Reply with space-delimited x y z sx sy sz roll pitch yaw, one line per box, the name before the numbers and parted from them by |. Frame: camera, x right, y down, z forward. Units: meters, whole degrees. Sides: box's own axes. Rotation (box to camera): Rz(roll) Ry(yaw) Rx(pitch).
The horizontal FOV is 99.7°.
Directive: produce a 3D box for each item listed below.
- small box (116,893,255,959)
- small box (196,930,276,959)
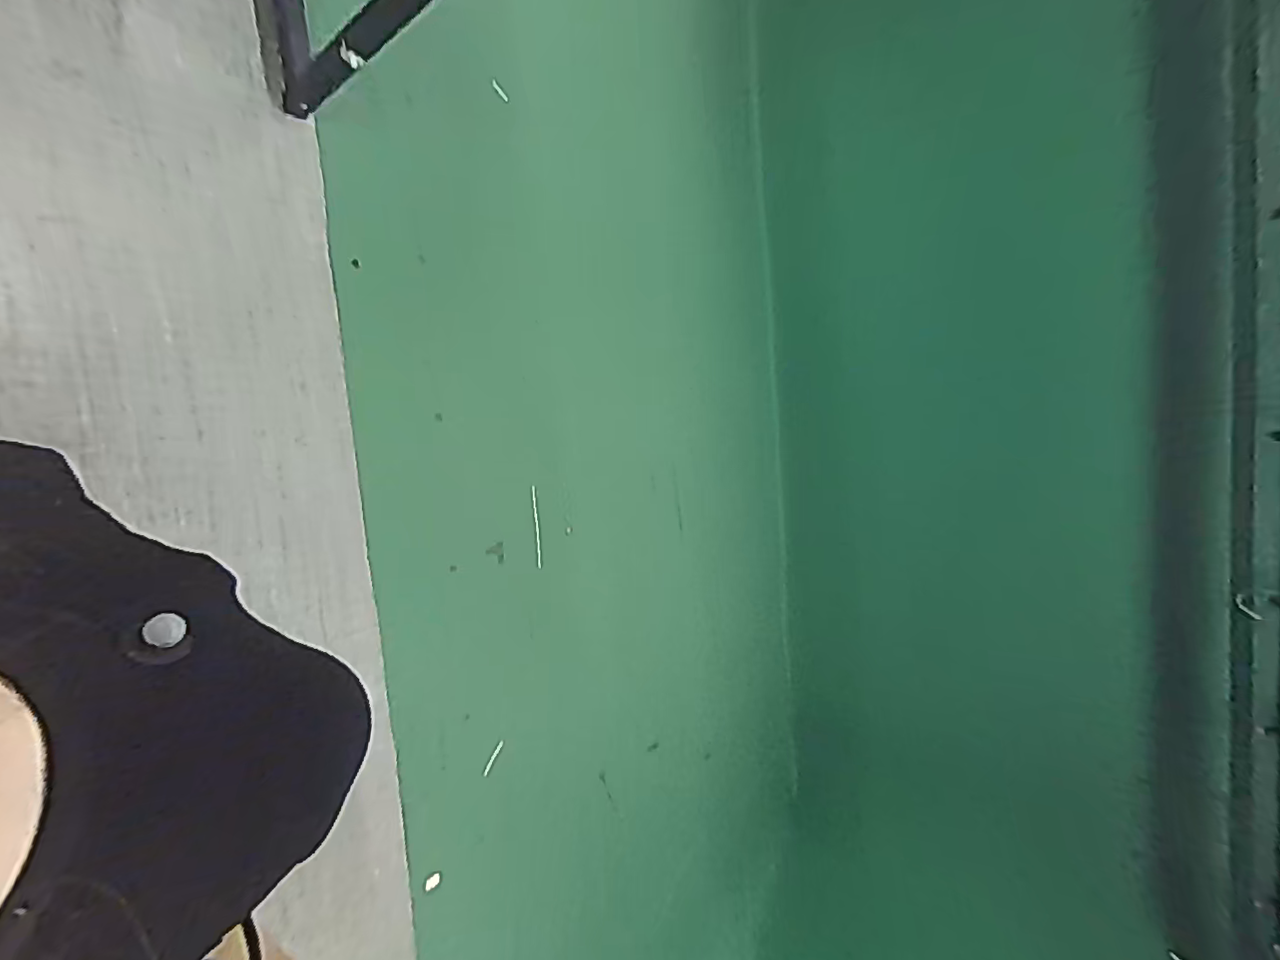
small box | -0.841 0.934 1.010 0.168 0.176 0.179 -9 95 -55
small box | -0.708 0.928 0.912 0.168 0.176 0.179 -9 96 -56
